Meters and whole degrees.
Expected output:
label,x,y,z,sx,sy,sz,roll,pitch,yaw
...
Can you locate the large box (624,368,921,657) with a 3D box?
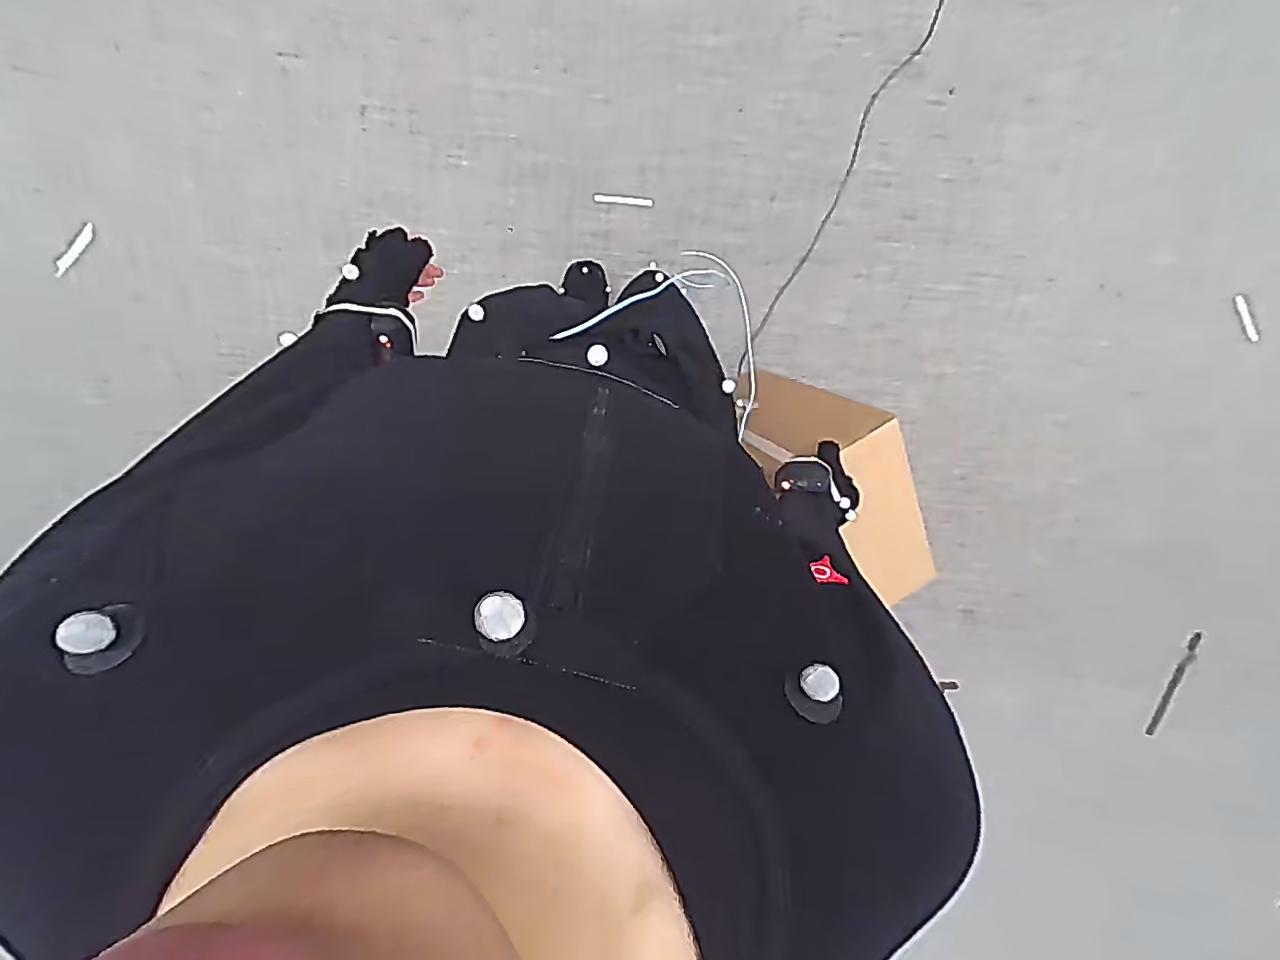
label,x,y,z,sx,sy,sz,roll,pitch,yaw
large box,0.220,0.032,0.989,0.320,0.408,0.320,-30,117,-5
